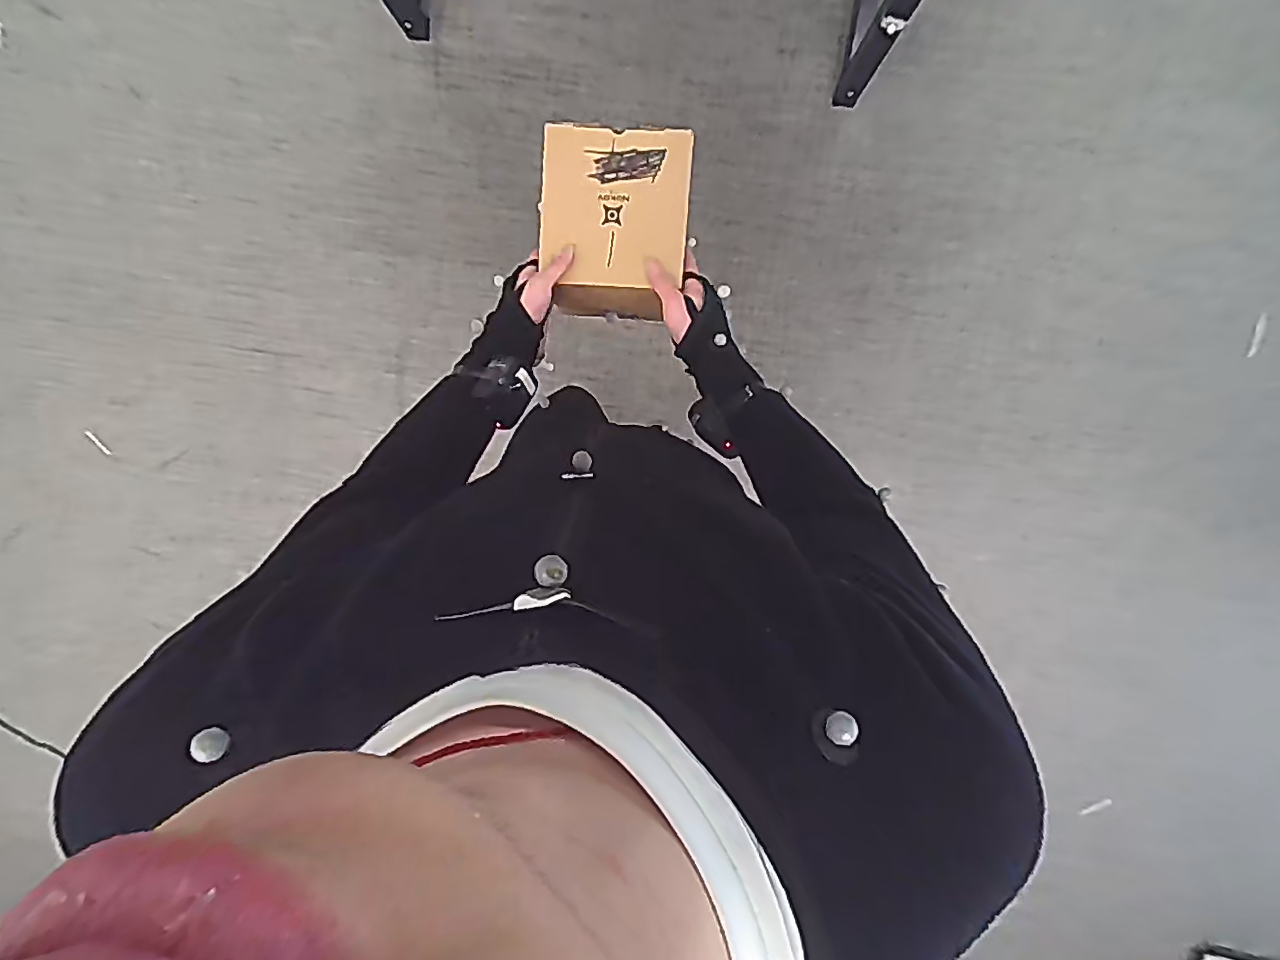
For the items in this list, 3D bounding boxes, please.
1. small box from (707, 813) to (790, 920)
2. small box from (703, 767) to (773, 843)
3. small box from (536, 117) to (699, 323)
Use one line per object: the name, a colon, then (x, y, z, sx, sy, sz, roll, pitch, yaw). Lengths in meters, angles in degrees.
small box: (0.289, 1.050, 1.481, 0.179, 0.176, 0.168, 9, 100, -3)
small box: (0.294, 1.016, 1.660, 0.168, 0.176, 0.179, 7, 99, -3)
small box: (-0.025, -0.311, 0.679, 0.168, 0.176, 0.179, 7, 95, 1)
